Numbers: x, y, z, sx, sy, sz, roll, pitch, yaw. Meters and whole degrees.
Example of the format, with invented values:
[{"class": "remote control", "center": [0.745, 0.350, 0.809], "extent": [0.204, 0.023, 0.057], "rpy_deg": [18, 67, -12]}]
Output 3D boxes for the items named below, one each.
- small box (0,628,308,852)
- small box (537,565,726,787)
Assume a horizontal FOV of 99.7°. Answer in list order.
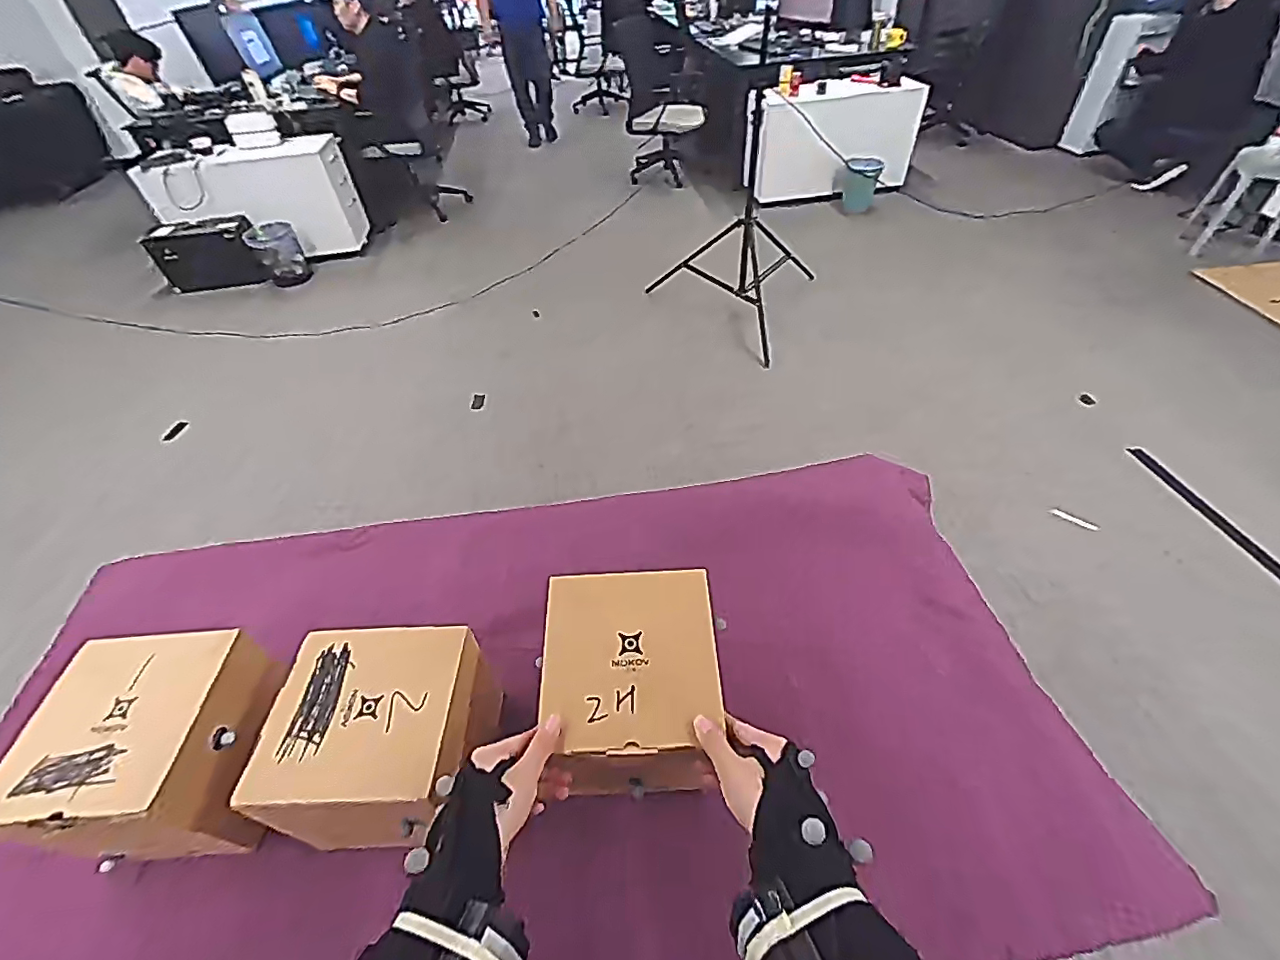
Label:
[{"class": "small box", "center": [-0.498, 0.282, 0.580], "extent": [0.168, 0.176, 0.179], "rpy_deg": [-4, 46, 0]}, {"class": "small box", "center": [-0.006, 0.210, 0.575], "extent": [0.168, 0.176, 0.179], "rpy_deg": [-3, 50, 1]}]
